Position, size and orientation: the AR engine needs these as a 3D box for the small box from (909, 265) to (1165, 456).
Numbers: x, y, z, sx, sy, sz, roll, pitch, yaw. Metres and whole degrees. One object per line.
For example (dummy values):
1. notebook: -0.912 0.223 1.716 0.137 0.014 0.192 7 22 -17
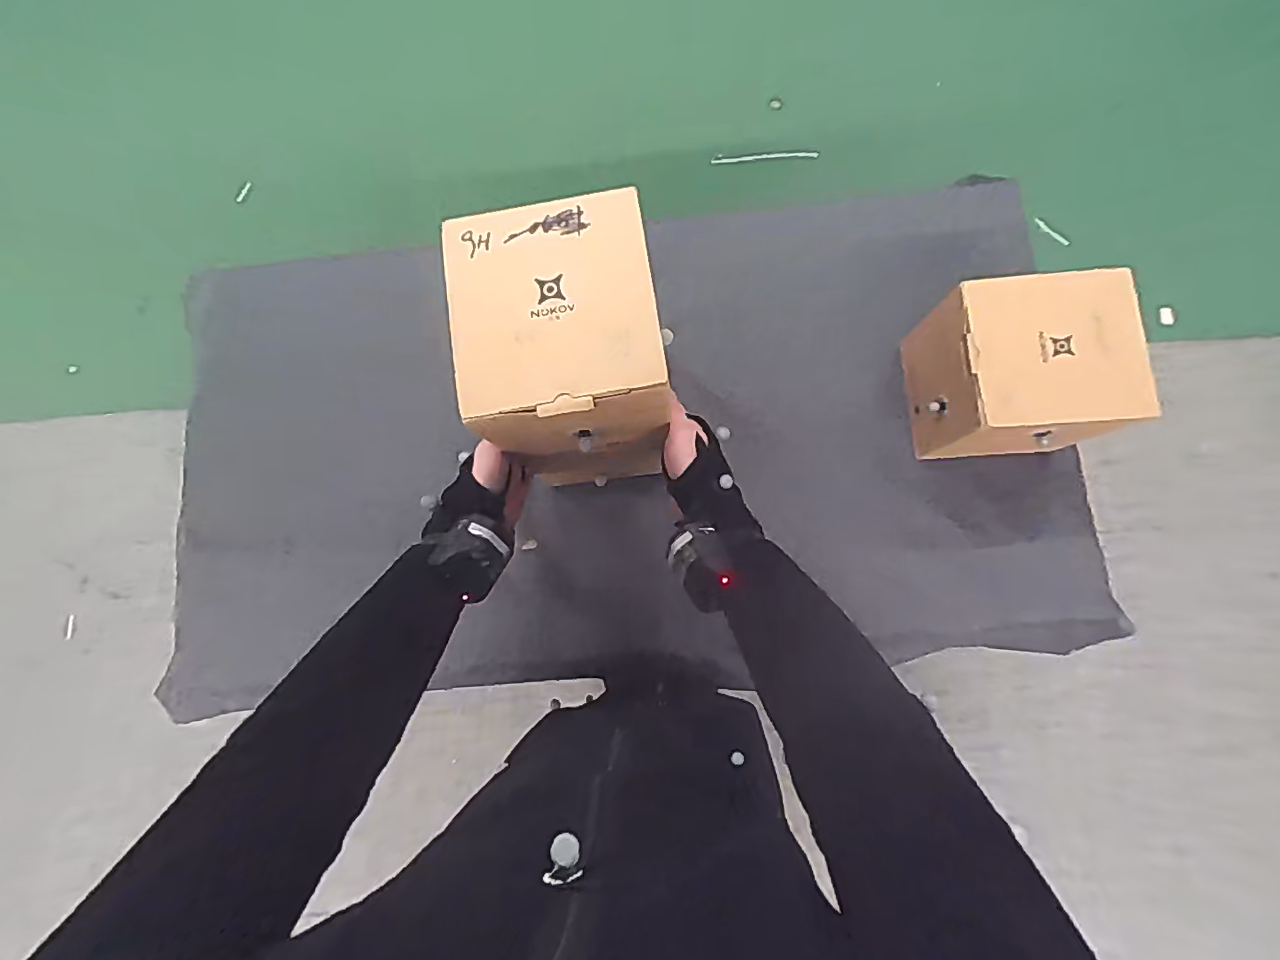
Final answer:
1. small box: 0.440 -0.127 0.637 0.179 0.176 0.168 -4 81 3

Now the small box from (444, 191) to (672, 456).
1. small box: -0.064 -0.126 0.507 0.168 0.176 0.179 -9 80 3

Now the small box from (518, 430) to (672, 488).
1. small box: -0.052 -0.096 0.667 0.168 0.176 0.179 -7 80 3
